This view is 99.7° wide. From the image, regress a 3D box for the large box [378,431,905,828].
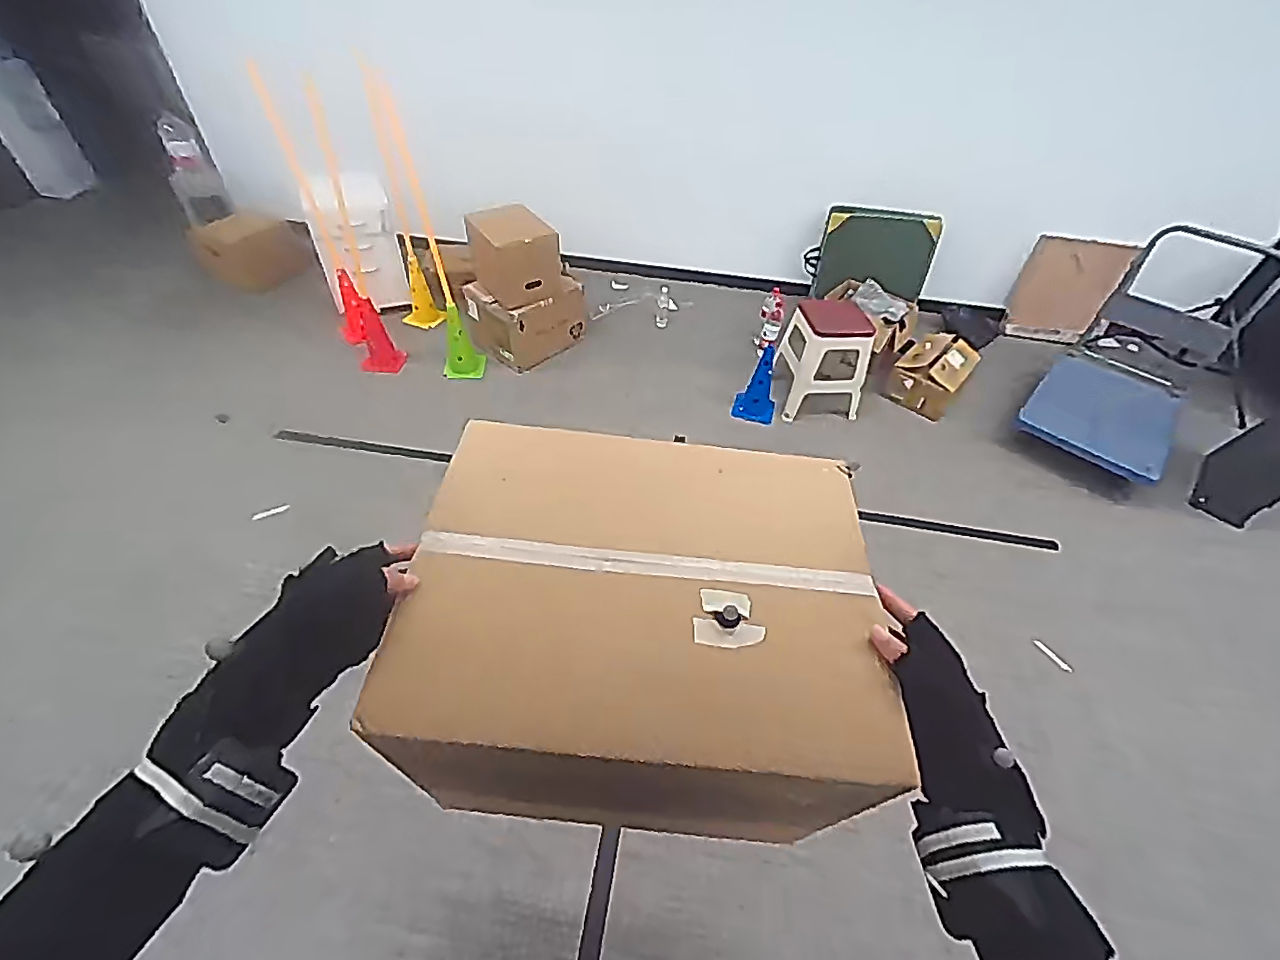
[{"bbox_3d":[-0.002,0.176,0.607,0.408,0.320,0.320,6,51,-1],"label":"large box"}]
